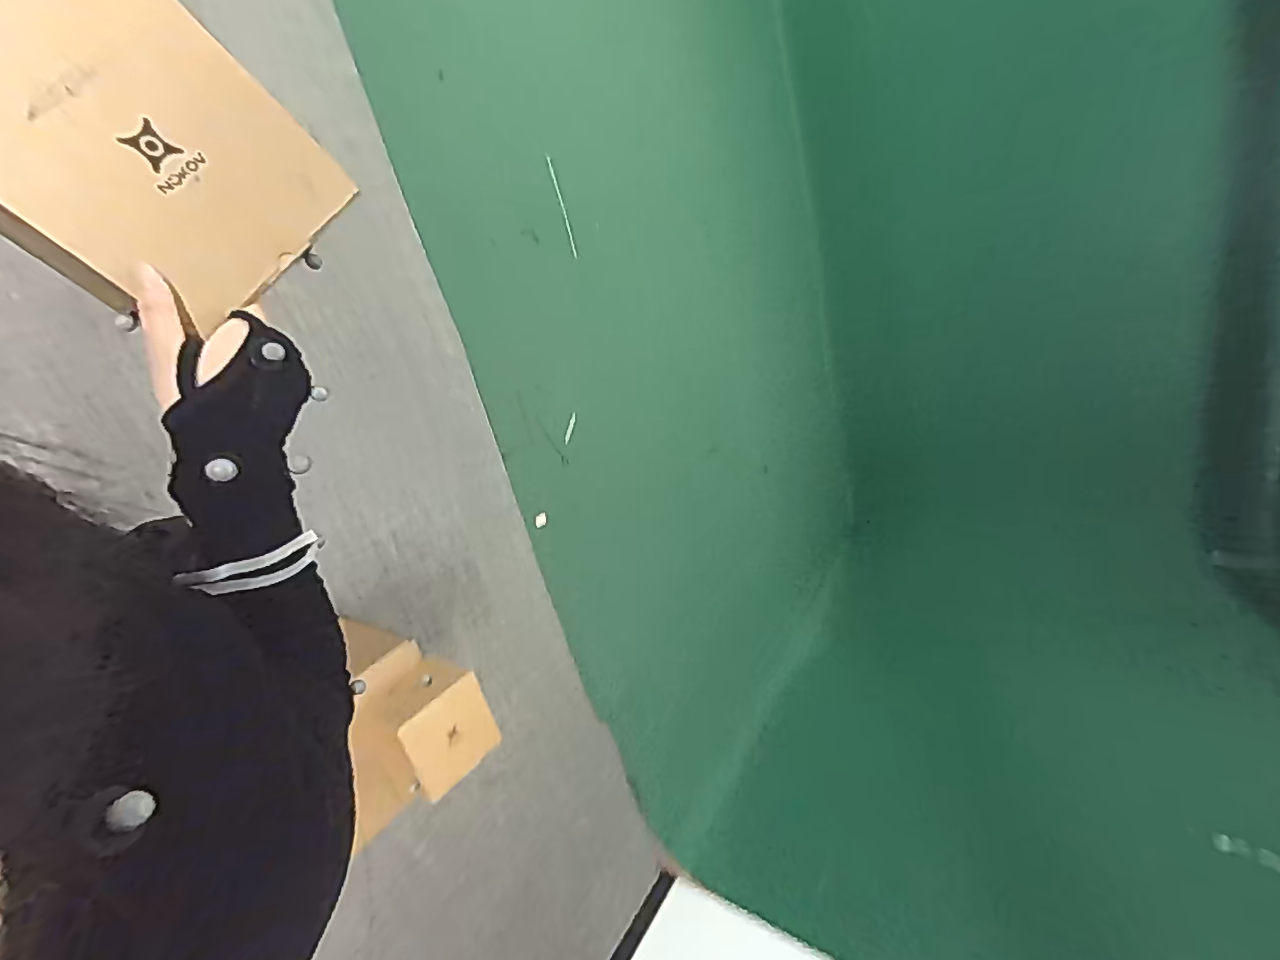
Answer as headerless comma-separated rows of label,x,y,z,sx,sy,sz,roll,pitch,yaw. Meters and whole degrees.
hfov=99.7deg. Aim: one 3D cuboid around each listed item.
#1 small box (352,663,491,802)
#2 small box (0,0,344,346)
small box,-0.435,0.485,1.073,0.168,0.176,0.179,-34,115,-45
small box,-0.364,-0.215,0.394,0.179,0.176,0.168,46,66,-37
